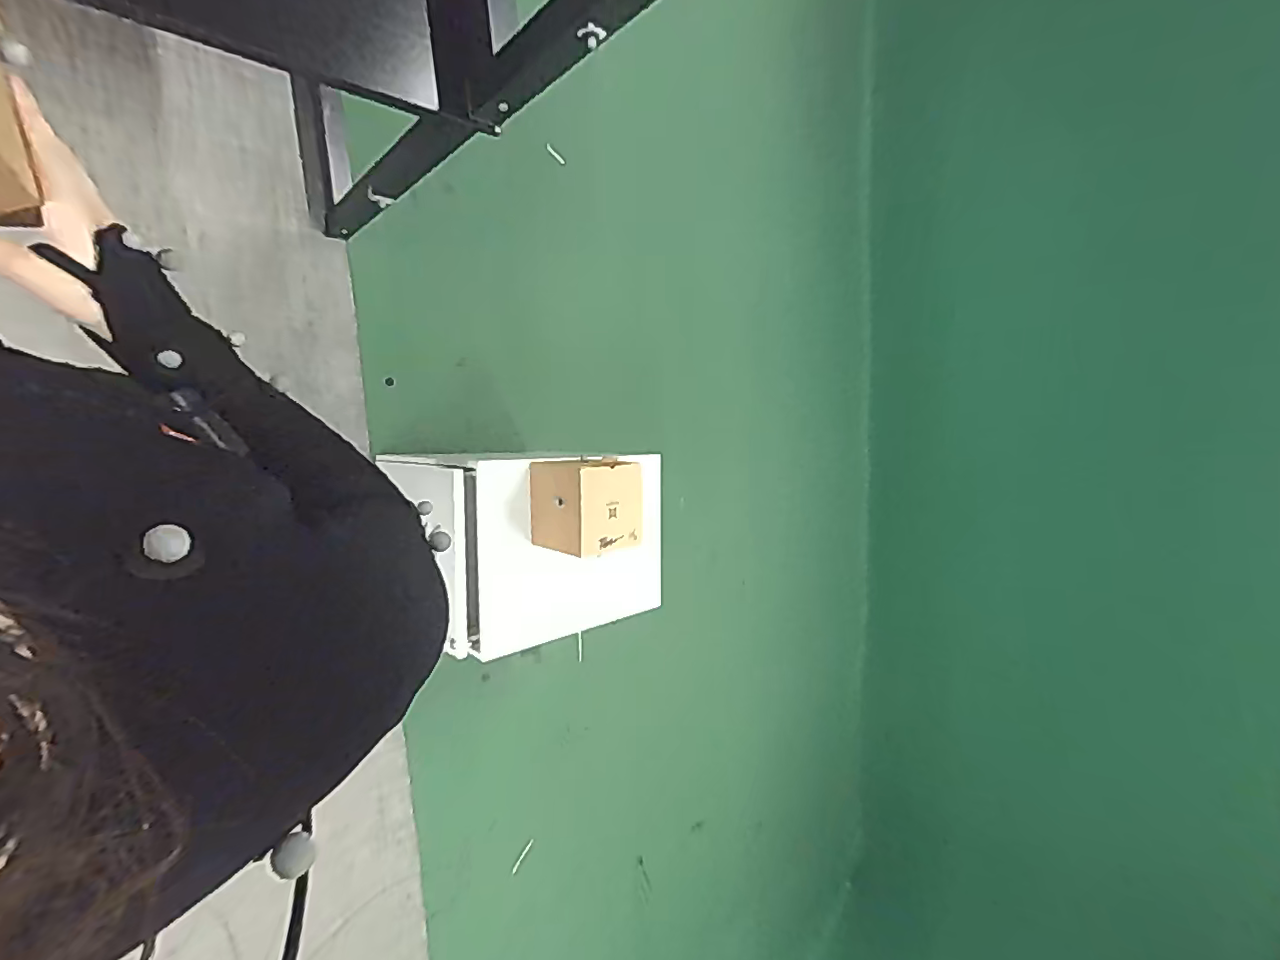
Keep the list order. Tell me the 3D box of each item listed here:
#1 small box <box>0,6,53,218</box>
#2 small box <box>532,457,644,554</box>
[{"bbox_3d":[-0.423,-0.231,0.236,0.179,0.176,0.168,-15,99,-35],"label":"small box"},{"bbox_3d":[-0.109,0.043,1.107,0.168,0.176,0.179,-6,98,-44],"label":"small box"}]
